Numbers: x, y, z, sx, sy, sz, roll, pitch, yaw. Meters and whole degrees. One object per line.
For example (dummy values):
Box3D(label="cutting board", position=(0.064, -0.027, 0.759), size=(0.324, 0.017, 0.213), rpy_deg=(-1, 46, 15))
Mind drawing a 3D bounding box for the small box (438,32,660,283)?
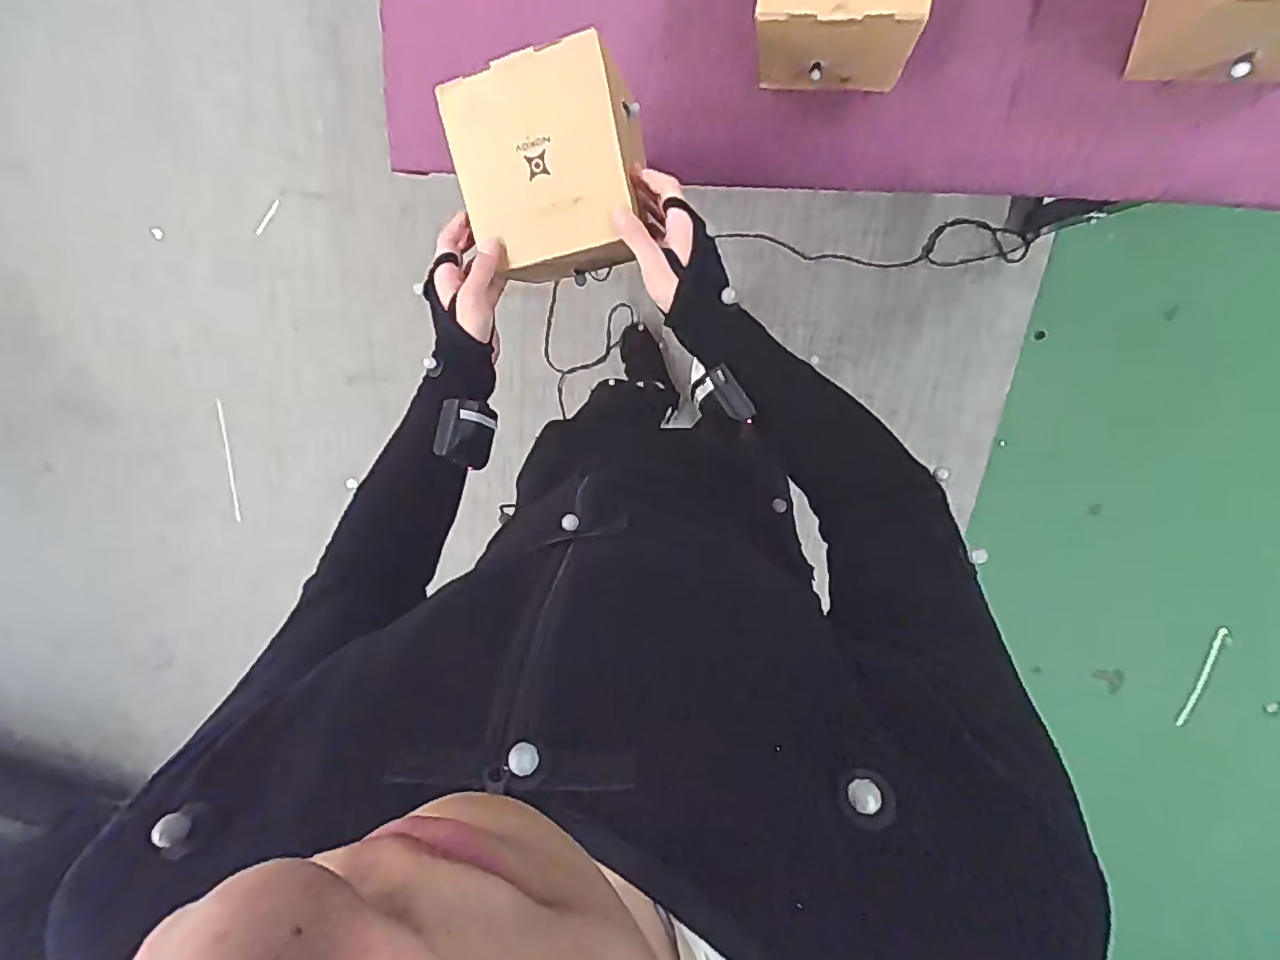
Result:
Box3D(label="small box", position=(-0.082, -0.324, 0.586), size=(0.168, 0.176, 0.179), rpy_deg=(-8, 105, 14))

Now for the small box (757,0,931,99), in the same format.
Box3D(label="small box", position=(0.222, -0.552, 0.587), size=(0.168, 0.176, 0.179), rpy_deg=(9, 107, 10))
